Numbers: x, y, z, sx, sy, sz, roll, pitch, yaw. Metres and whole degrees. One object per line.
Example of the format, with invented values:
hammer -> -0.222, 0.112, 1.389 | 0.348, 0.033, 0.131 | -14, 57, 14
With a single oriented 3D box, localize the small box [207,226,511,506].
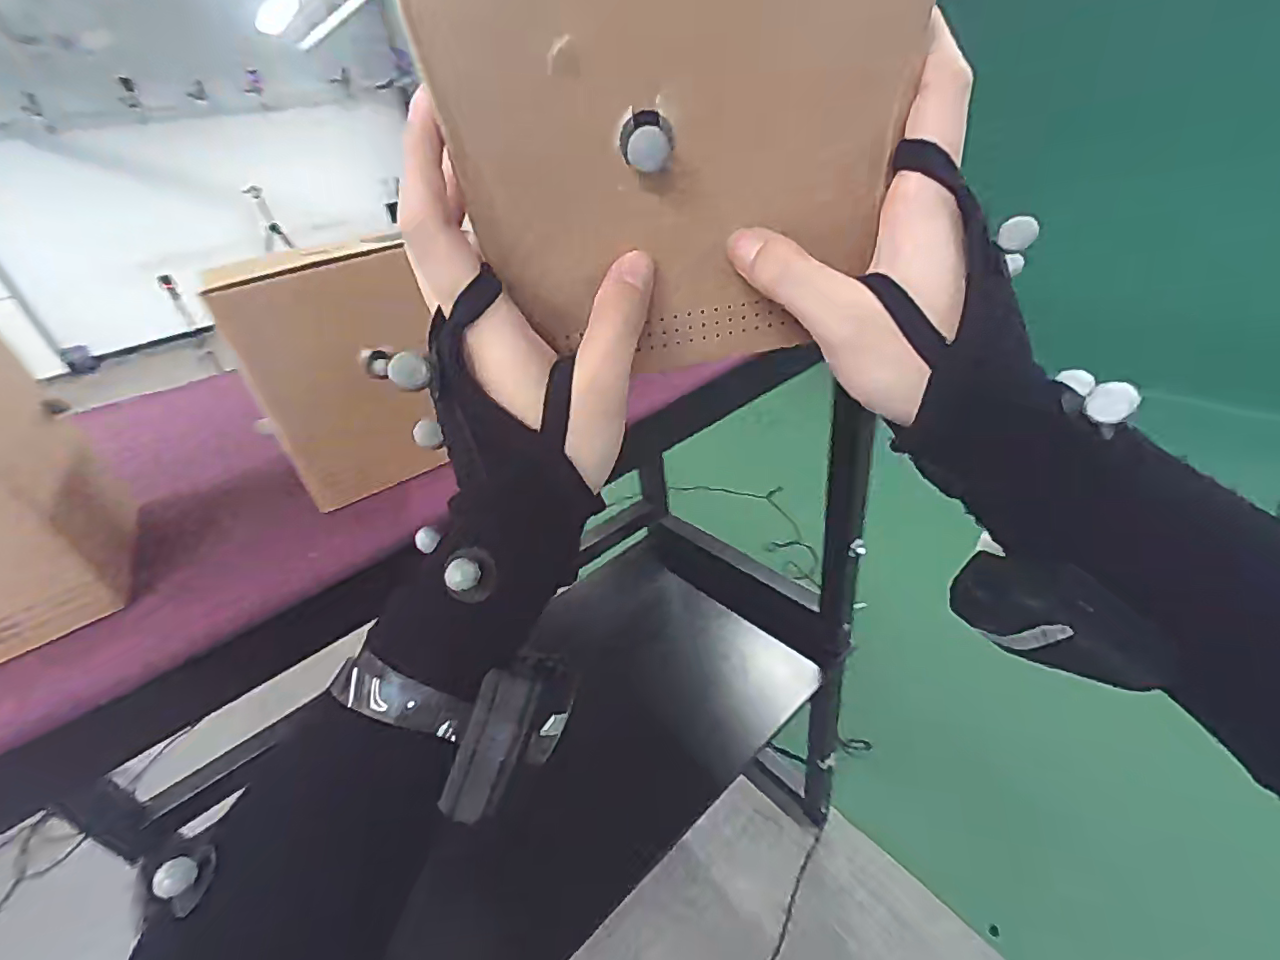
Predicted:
small box -> -0.229, -0.107, 0.468 | 0.179, 0.176, 0.168 | -28, 37, -24

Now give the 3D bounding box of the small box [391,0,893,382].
small box -> 0.008, -0.169, 0.273 | 0.179, 0.176, 0.168 | -11, 45, 1
